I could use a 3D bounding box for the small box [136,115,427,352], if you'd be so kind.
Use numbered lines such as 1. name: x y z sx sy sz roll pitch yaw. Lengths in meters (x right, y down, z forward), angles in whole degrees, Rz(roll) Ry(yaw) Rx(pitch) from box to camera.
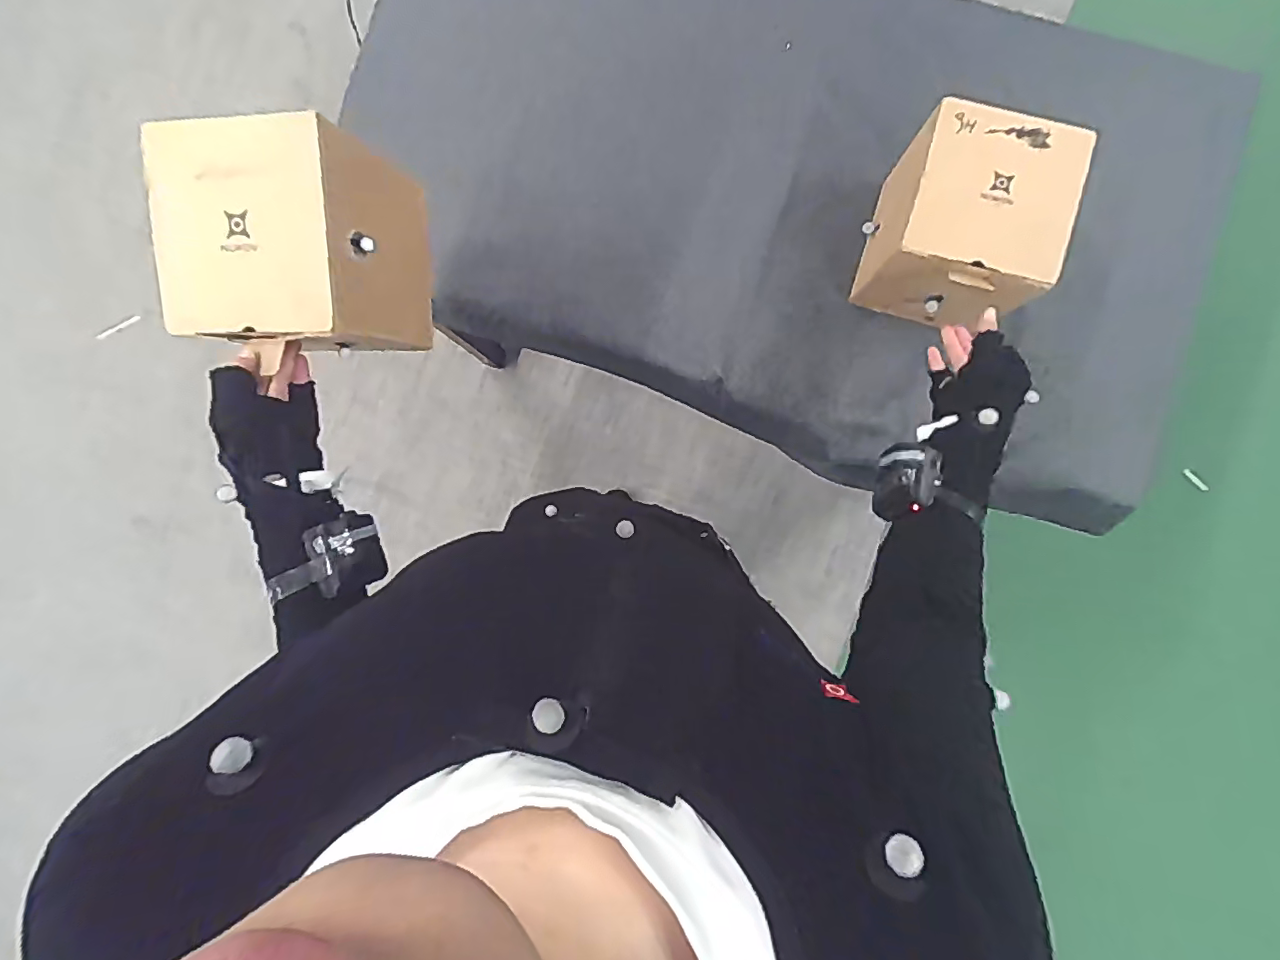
1. small box: -0.326 -0.218 0.529 0.168 0.176 0.179 1 98 7

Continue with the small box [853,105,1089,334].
1. small box: 0.380 -0.298 0.658 0.168 0.176 0.179 17 89 3
